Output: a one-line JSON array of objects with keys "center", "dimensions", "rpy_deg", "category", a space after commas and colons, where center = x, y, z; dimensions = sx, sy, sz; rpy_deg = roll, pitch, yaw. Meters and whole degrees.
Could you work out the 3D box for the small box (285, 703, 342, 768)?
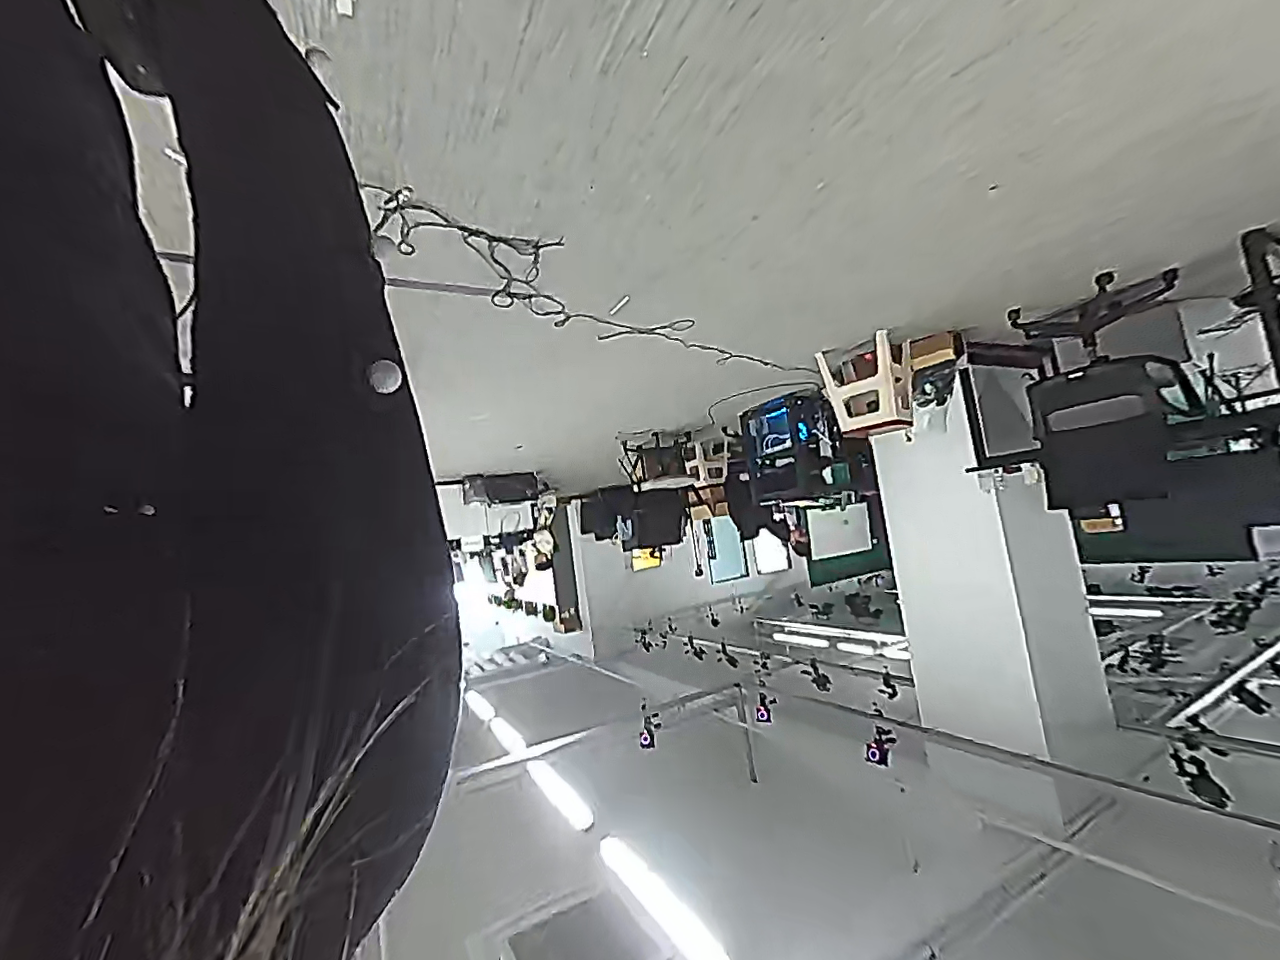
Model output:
[{"center": [-1.281, 0.995, 2.125], "dimensions": [0.168, 0.176, 0.179], "rpy_deg": [-5, 174, -22], "category": "small box"}]
